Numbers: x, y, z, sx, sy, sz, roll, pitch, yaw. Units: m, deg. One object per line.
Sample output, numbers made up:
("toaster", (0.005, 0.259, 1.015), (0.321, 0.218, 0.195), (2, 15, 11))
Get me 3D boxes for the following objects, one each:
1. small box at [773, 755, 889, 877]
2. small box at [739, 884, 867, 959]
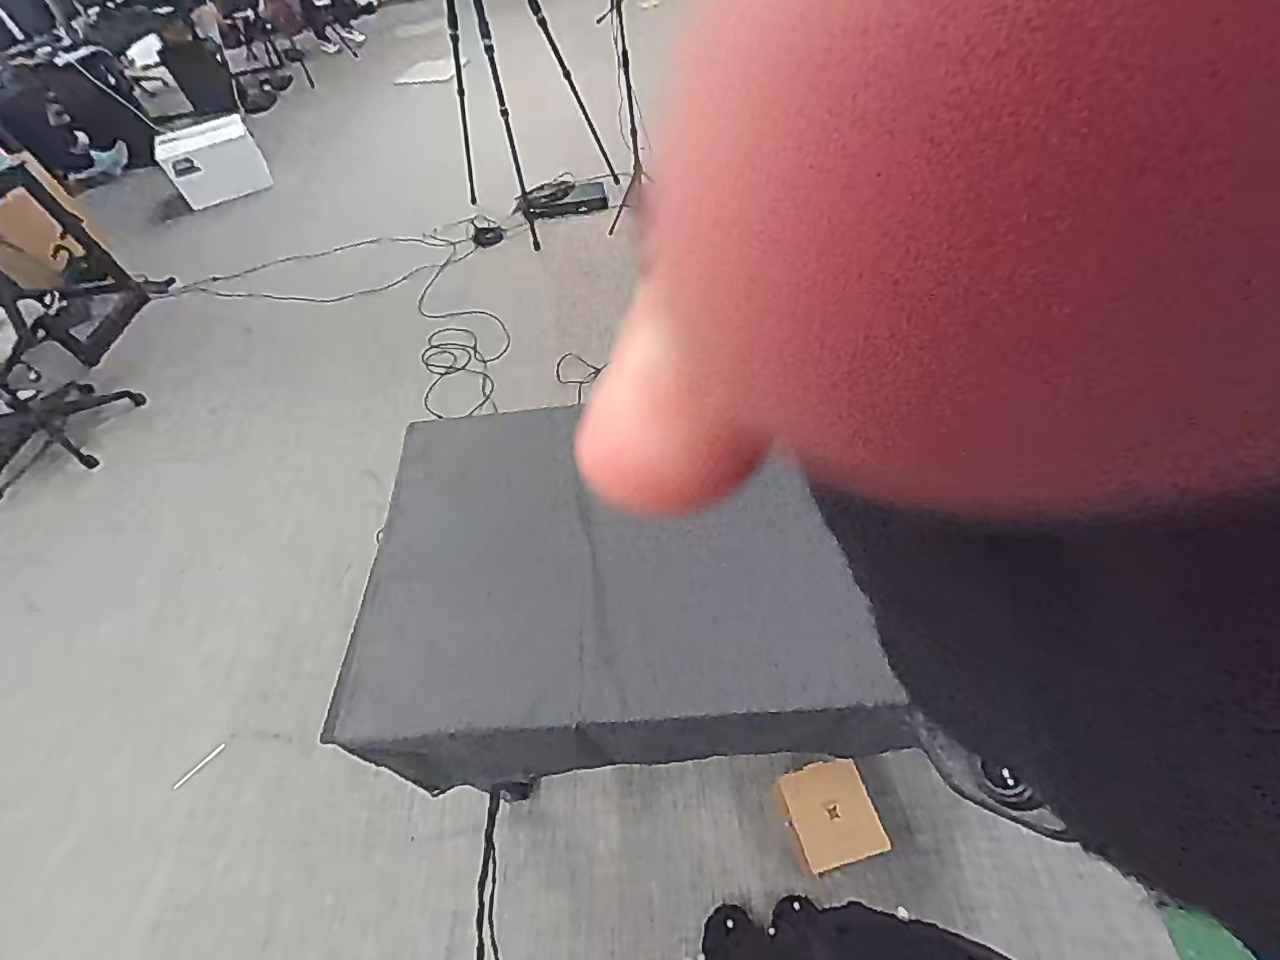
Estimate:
("small box", (0.393, 0.718, 1.152), (0.168, 0.176, 0.179), (-15, 52, -3))
("small box", (0.308, 0.930, 1.010), (0.179, 0.176, 0.168), (-22, 19, -37))
